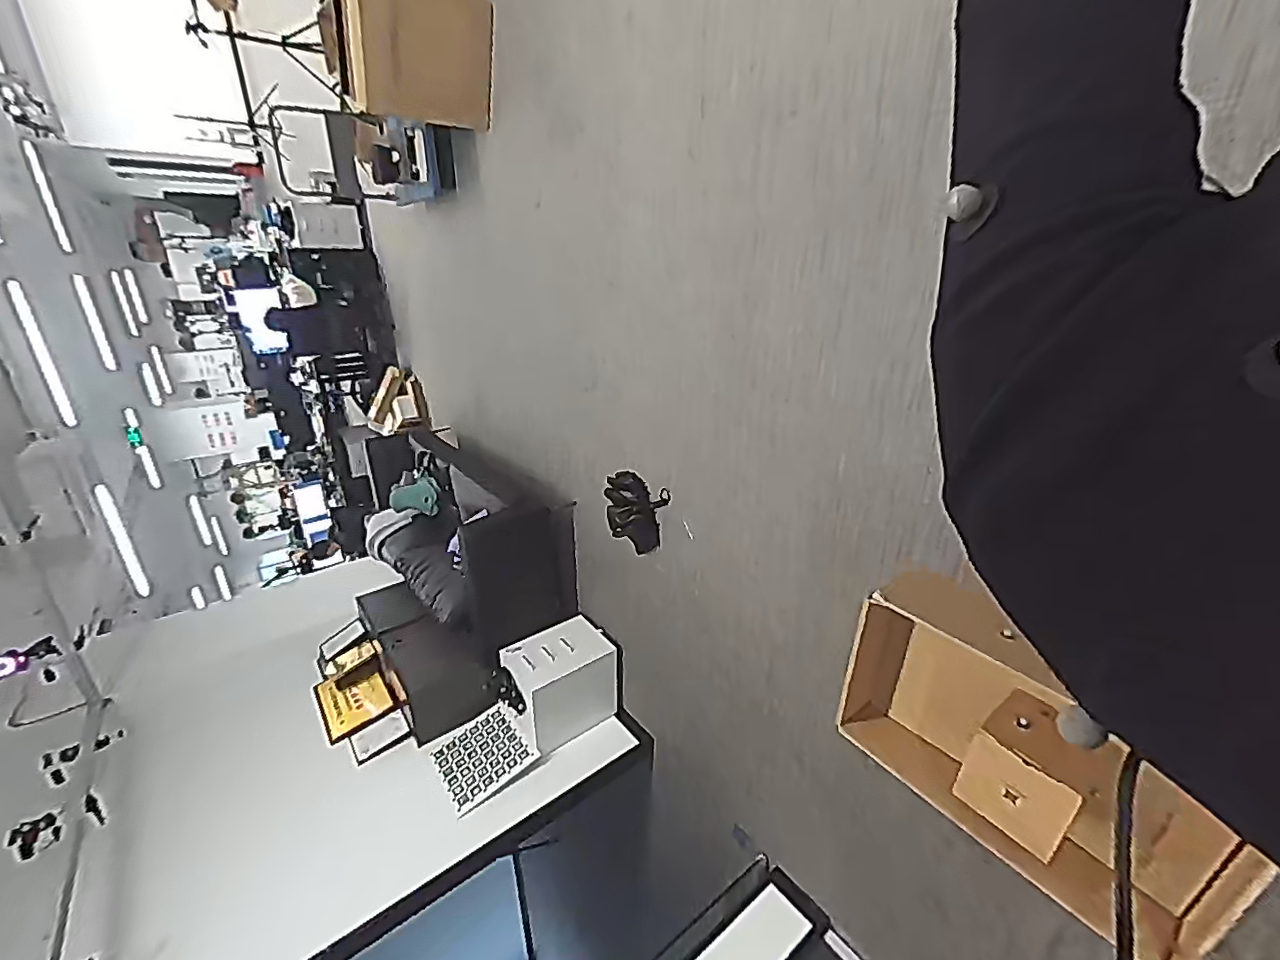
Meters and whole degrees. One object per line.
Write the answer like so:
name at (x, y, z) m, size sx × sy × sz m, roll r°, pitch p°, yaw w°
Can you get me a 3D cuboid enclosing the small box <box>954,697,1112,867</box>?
small box at (0.714, 0.536, 0.986) m, size 0.168 × 0.176 × 0.179 m, roll 31°, pitch 130°, yaw 48°
